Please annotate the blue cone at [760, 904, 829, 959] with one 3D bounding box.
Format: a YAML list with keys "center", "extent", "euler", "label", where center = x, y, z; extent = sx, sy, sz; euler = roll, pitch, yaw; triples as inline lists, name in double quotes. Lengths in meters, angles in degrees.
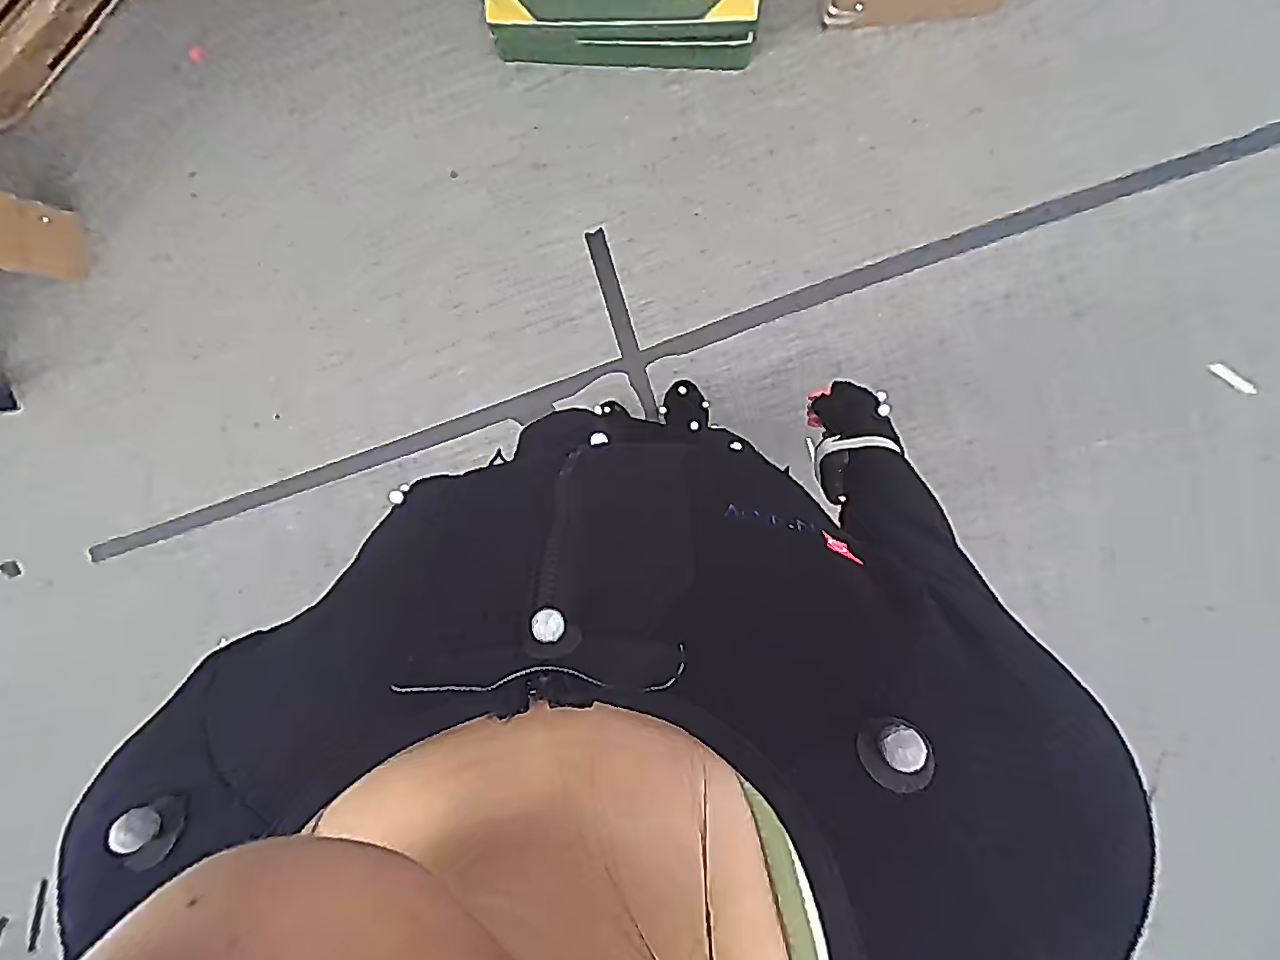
- center: [0.469, 1.443, 1.523]
  extent: [0.193, 0.380, 0.192]
  euler: [-14, 100, 7]
  label: "blue cone"
